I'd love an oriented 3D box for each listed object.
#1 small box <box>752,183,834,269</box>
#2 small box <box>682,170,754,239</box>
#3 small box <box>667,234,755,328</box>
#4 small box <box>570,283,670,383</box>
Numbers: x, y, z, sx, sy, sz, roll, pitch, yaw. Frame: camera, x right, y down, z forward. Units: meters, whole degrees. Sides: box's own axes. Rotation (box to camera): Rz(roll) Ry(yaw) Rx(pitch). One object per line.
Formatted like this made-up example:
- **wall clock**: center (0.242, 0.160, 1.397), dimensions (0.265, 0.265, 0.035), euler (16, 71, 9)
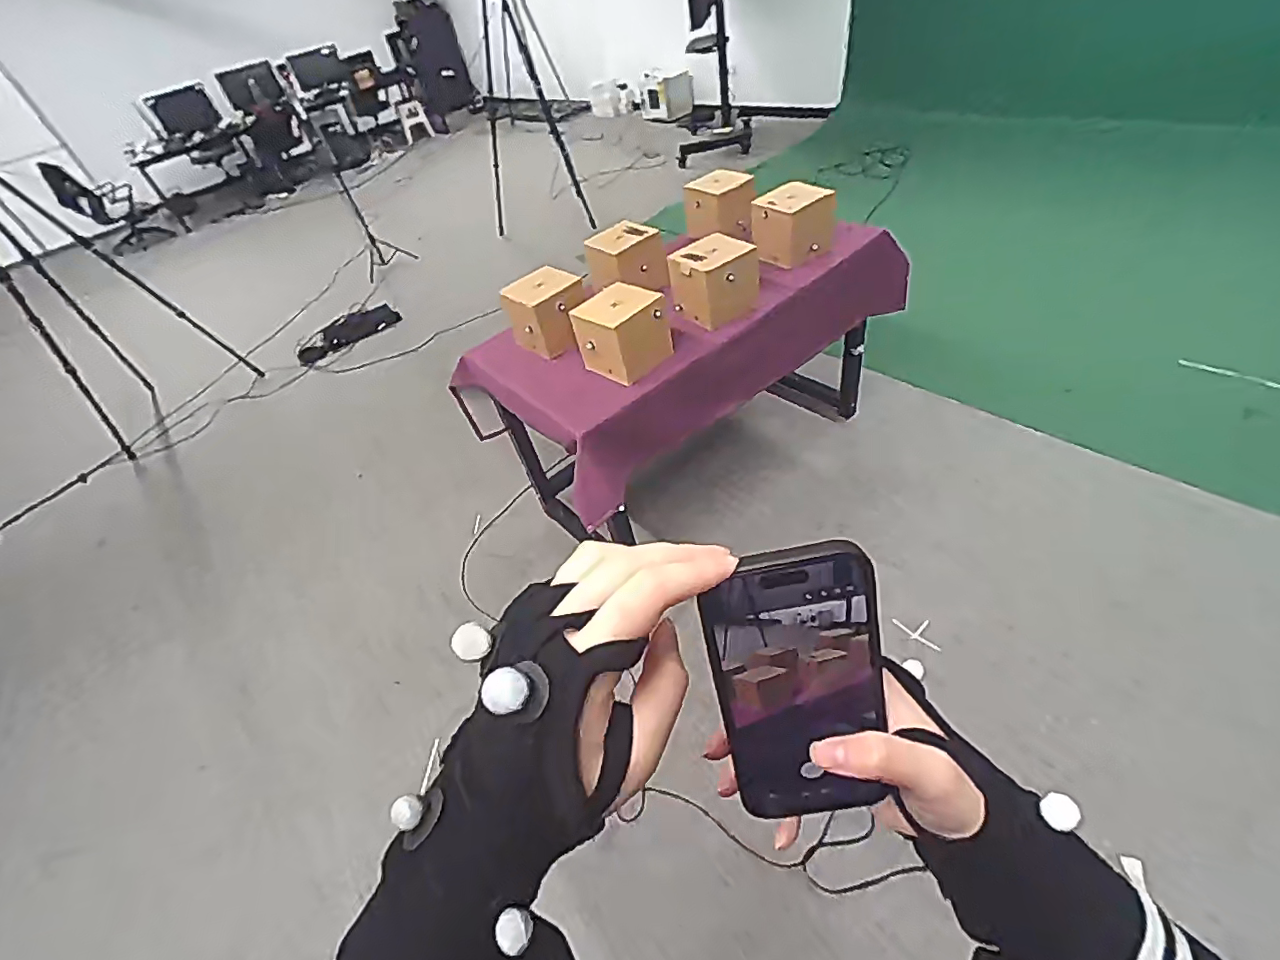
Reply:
- **small box**: center (0.453, -0.763, 1.622), dimensions (0.179, 0.176, 0.168), euler (-31, 47, -17)
- **small box**: center (0.264, -0.916, 1.820), dimensions (0.168, 0.176, 0.179), euler (-35, 49, -18)
- **small box**: center (0.200, -0.540, 1.469), dimensions (0.179, 0.176, 0.168), euler (-32, 47, -18)
- **small box**: center (-0.043, -0.369, 1.366), dimensions (0.168, 0.176, 0.179), euler (29, 58, 35)
